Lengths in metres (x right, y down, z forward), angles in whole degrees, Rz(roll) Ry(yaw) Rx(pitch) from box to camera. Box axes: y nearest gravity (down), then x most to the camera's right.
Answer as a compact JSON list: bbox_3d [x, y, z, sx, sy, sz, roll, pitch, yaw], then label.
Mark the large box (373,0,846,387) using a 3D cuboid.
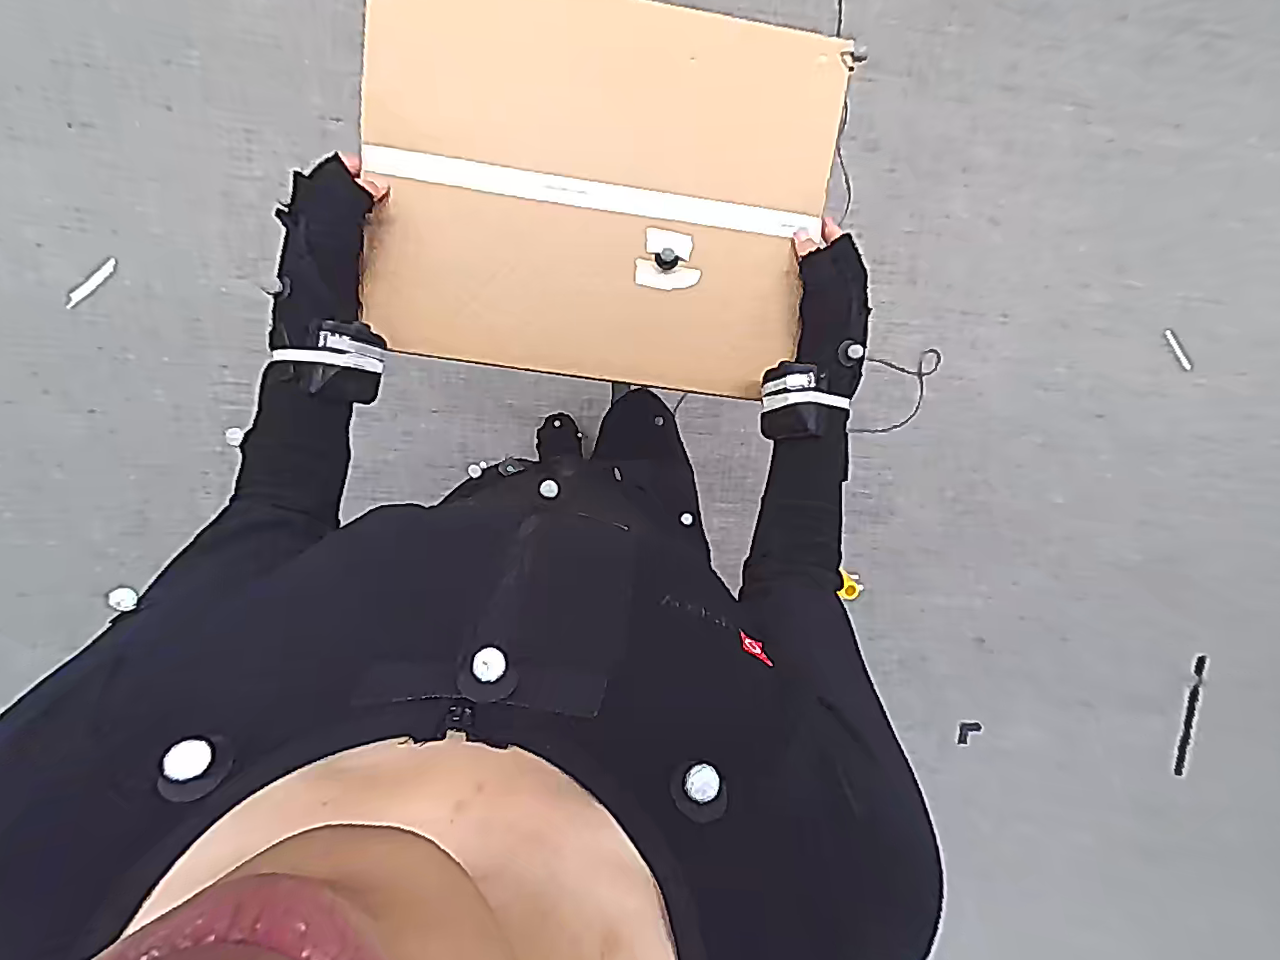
[{"bbox_3d":[-0.043,-0.287,0.630,0.408,0.320,0.320,7,101,-6],"label":"large box"}]
